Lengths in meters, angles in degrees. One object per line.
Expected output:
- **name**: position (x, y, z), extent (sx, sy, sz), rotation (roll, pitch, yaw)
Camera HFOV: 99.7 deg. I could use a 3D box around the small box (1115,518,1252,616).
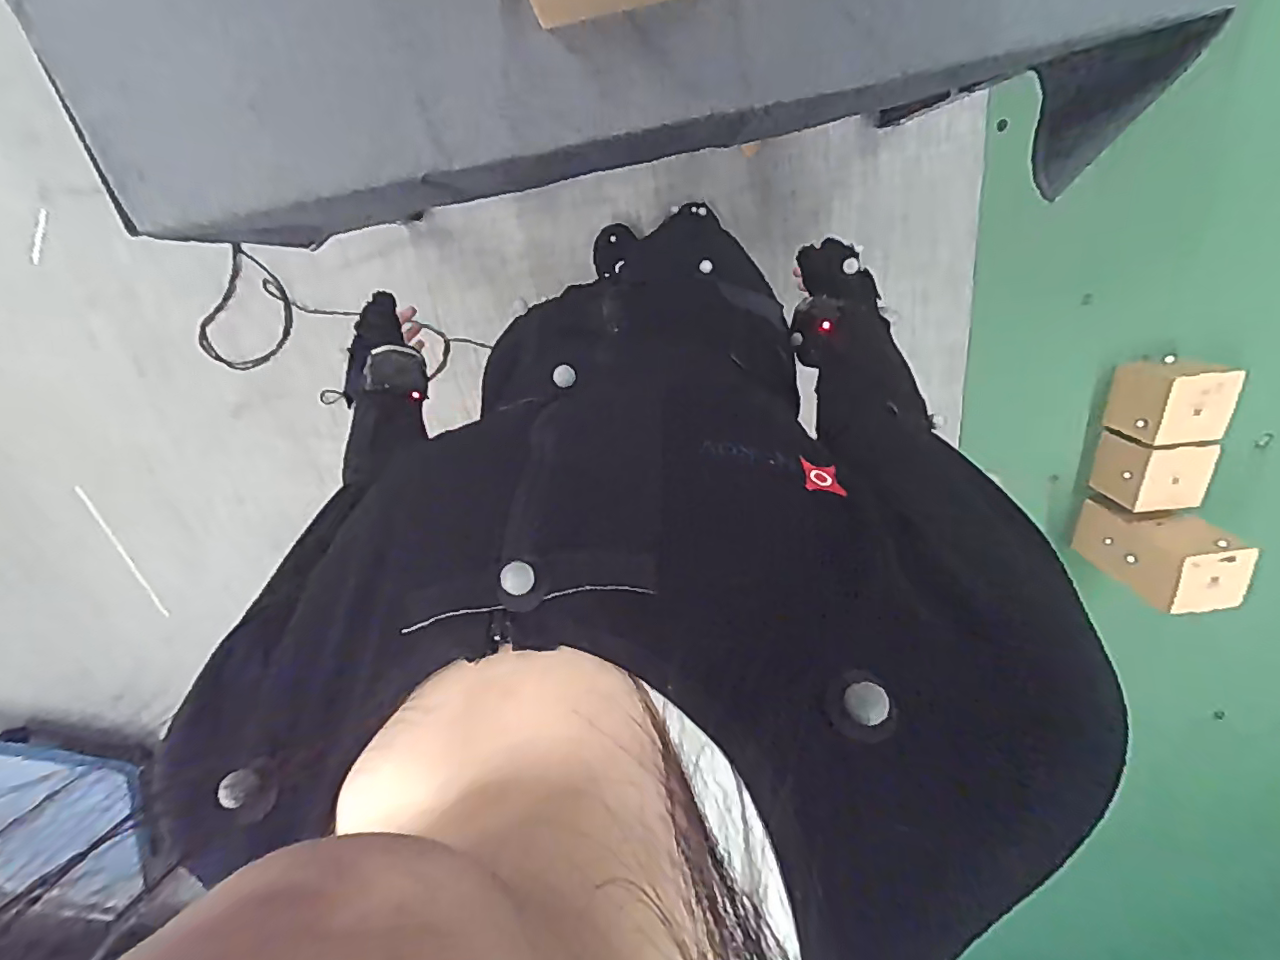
- **small box**: position (1.378, 0.220, 1.388), extent (0.168, 0.176, 0.179), rotation (-9, 115, 4)
